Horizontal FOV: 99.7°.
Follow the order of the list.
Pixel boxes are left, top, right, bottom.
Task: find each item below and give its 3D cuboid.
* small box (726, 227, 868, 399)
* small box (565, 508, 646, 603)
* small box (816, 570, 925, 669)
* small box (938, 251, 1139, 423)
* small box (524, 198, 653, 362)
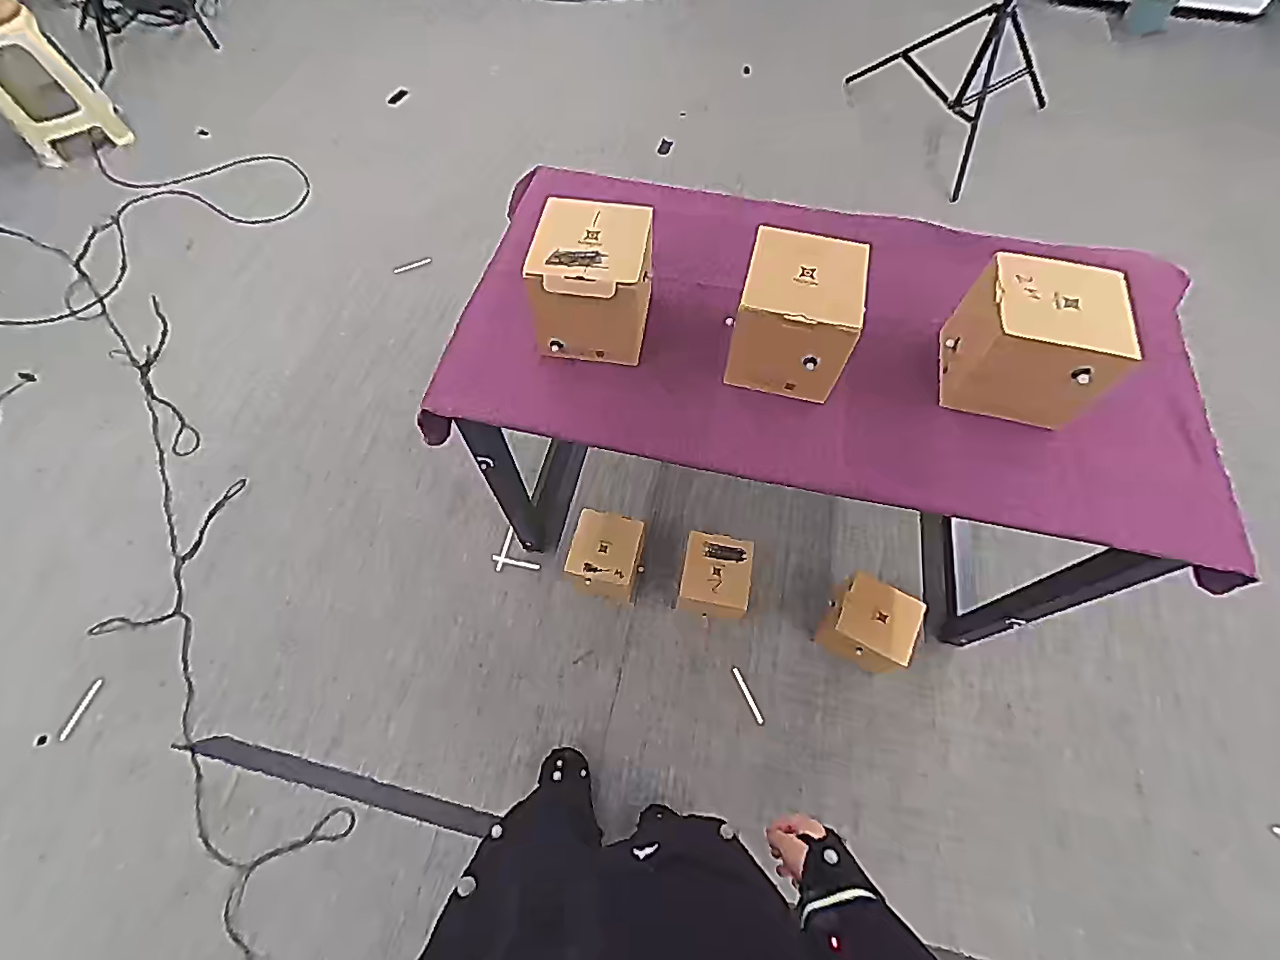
[{"bbox_3d":[0.233,-0.250,0.832,0.168,0.176,0.179,13,62,5],"label":"small box"},{"bbox_3d":[-0.086,0.201,1.418,0.168,0.176,0.179,13,62,6],"label":"small box"},{"bbox_3d":[0.566,0.353,1.345,0.179,0.176,0.168,26,66,14],"label":"small box"},{"bbox_3d":[0.579,-0.206,0.810,0.179,0.176,0.168,13,63,7],"label":"small box"},{"bbox_3d":[-0.071,-0.310,0.857,0.168,0.176,0.179,7,61,3],"label":"small box"}]
